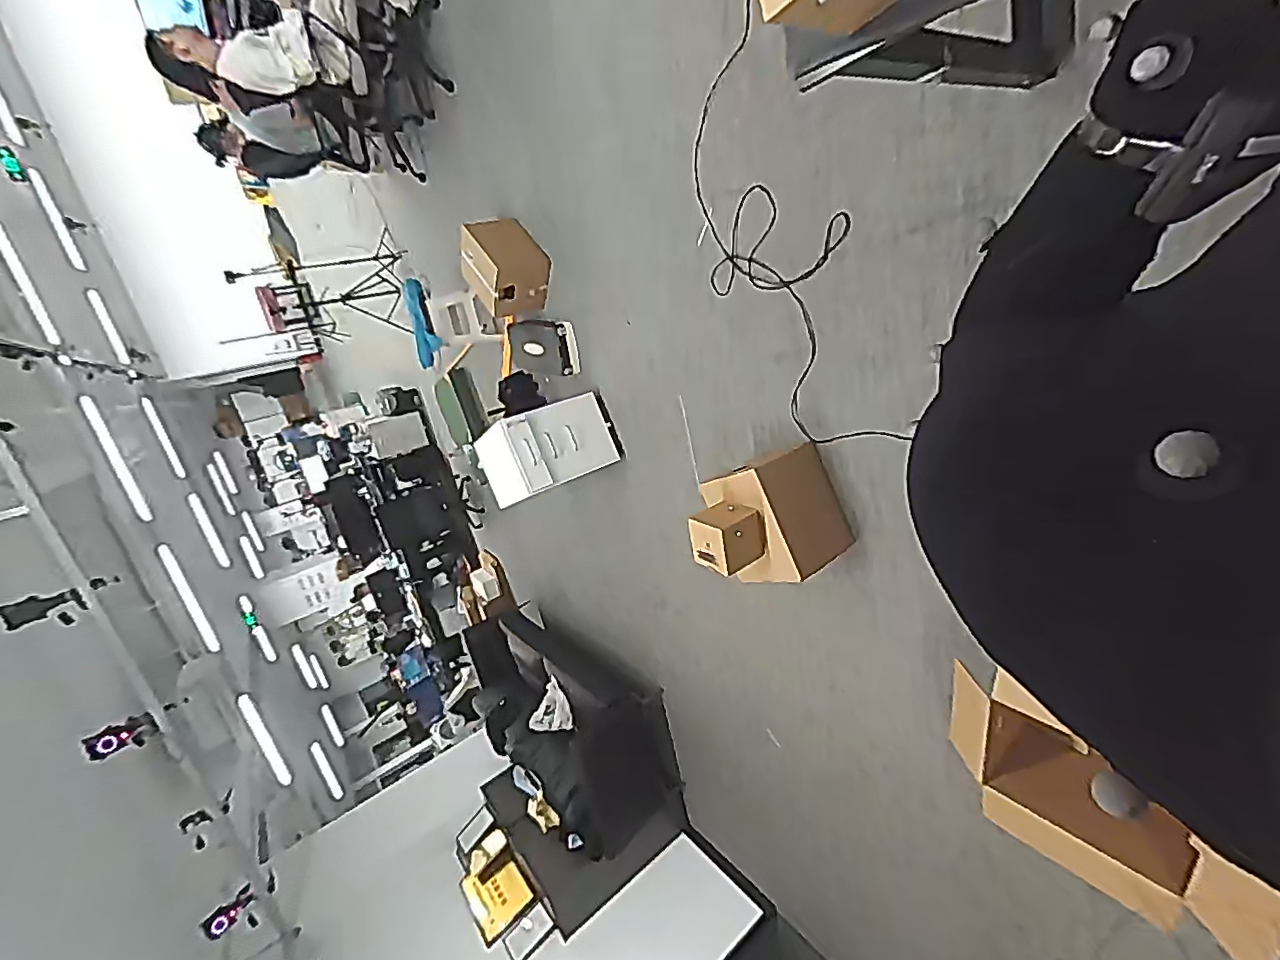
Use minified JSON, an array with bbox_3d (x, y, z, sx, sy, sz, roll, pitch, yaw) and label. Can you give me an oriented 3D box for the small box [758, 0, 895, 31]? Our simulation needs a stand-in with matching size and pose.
[{"bbox_3d":[0.232,-0.638,0.588,0.168,0.176,0.179,4,113,55],"label":"small box"}]
